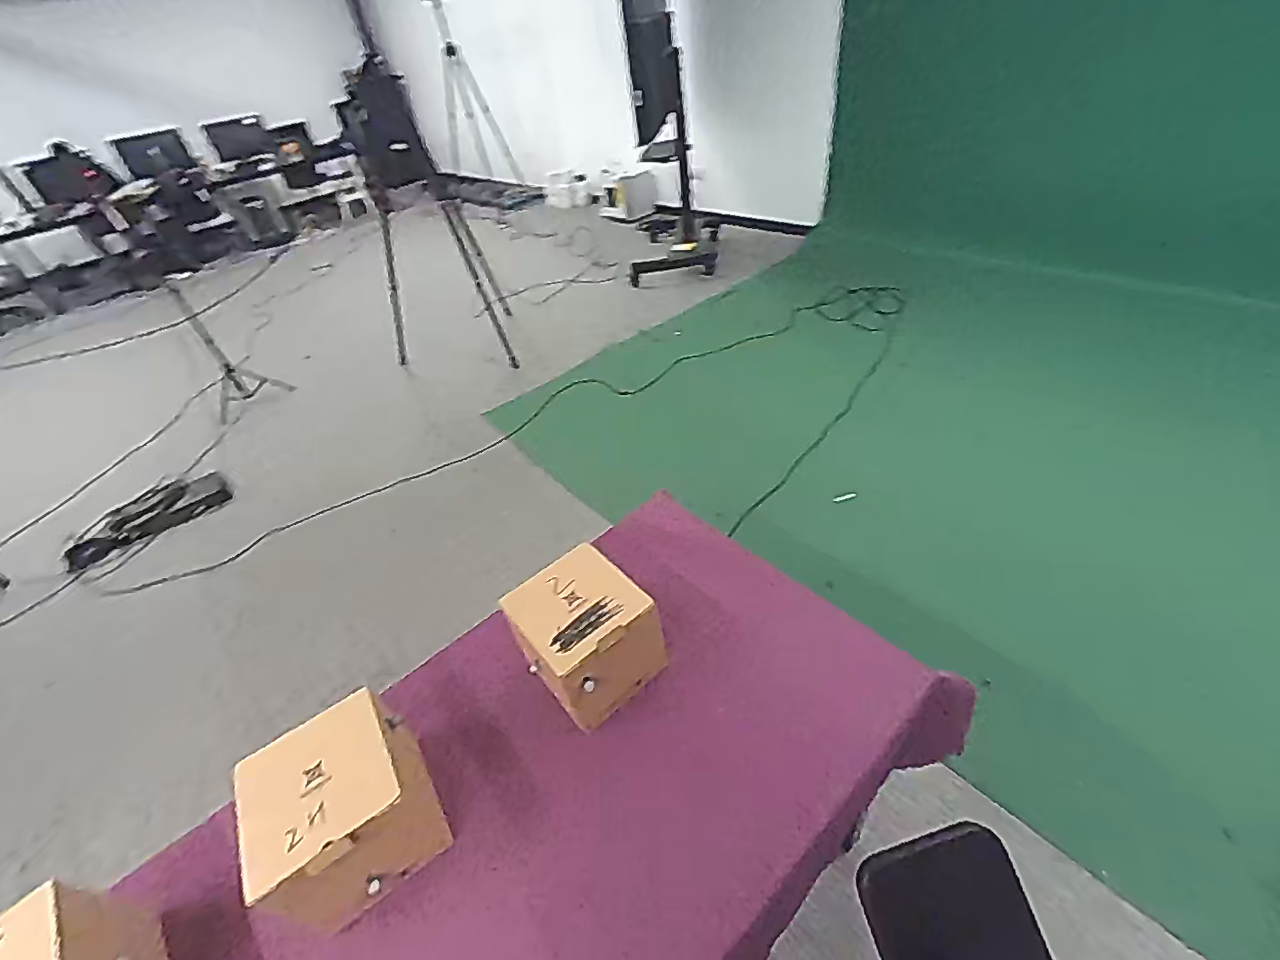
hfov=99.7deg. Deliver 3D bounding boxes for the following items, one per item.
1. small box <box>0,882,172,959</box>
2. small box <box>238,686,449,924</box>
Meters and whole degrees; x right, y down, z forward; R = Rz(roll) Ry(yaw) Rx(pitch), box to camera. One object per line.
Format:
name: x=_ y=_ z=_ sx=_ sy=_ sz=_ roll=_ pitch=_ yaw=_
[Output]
small box: x=-0.623 y=0.573 z=0.558 sx=0.179 sy=0.176 sz=0.168 roll=29 pitch=53 yaw=35
small box: x=-0.372 y=0.411 z=0.689 sx=0.168 sy=0.176 sz=0.179 roll=-30 pitch=45 yaw=-21
